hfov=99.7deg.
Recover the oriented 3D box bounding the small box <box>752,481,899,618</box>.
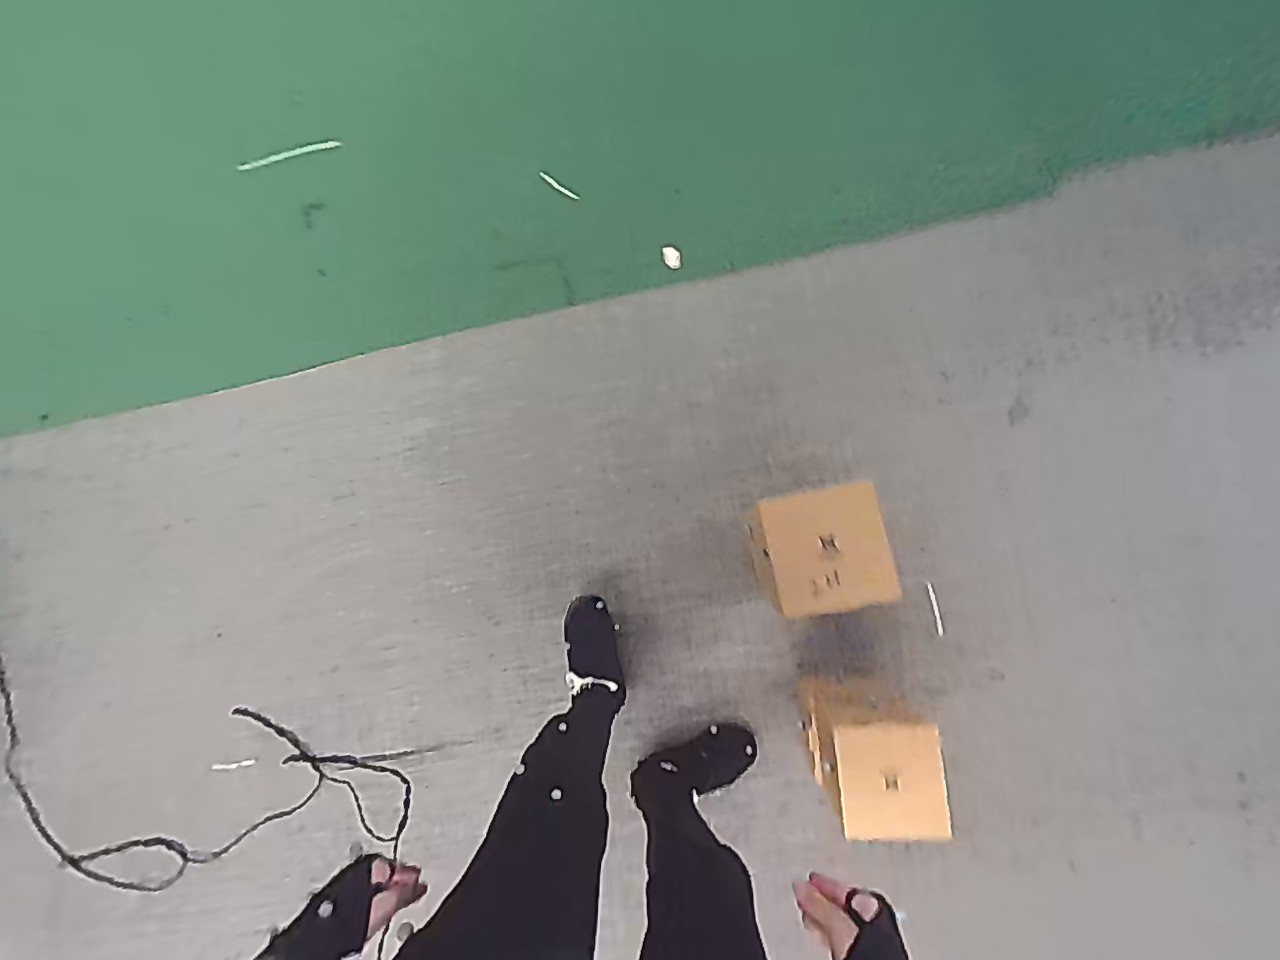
[{"bbox_3d":[0.279,0.110,0.855,0.168,0.176,0.179,-11,82,6],"label":"small box"}]

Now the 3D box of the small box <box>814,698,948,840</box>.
[{"bbox_3d":[0.414,0.500,0.955,0.168,0.176,0.179,-5,81,6],"label":"small box"}]

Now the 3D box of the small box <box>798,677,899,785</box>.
[{"bbox_3d":[0.426,0.513,1.118,0.179,0.176,0.168,-3,83,8],"label":"small box"}]
